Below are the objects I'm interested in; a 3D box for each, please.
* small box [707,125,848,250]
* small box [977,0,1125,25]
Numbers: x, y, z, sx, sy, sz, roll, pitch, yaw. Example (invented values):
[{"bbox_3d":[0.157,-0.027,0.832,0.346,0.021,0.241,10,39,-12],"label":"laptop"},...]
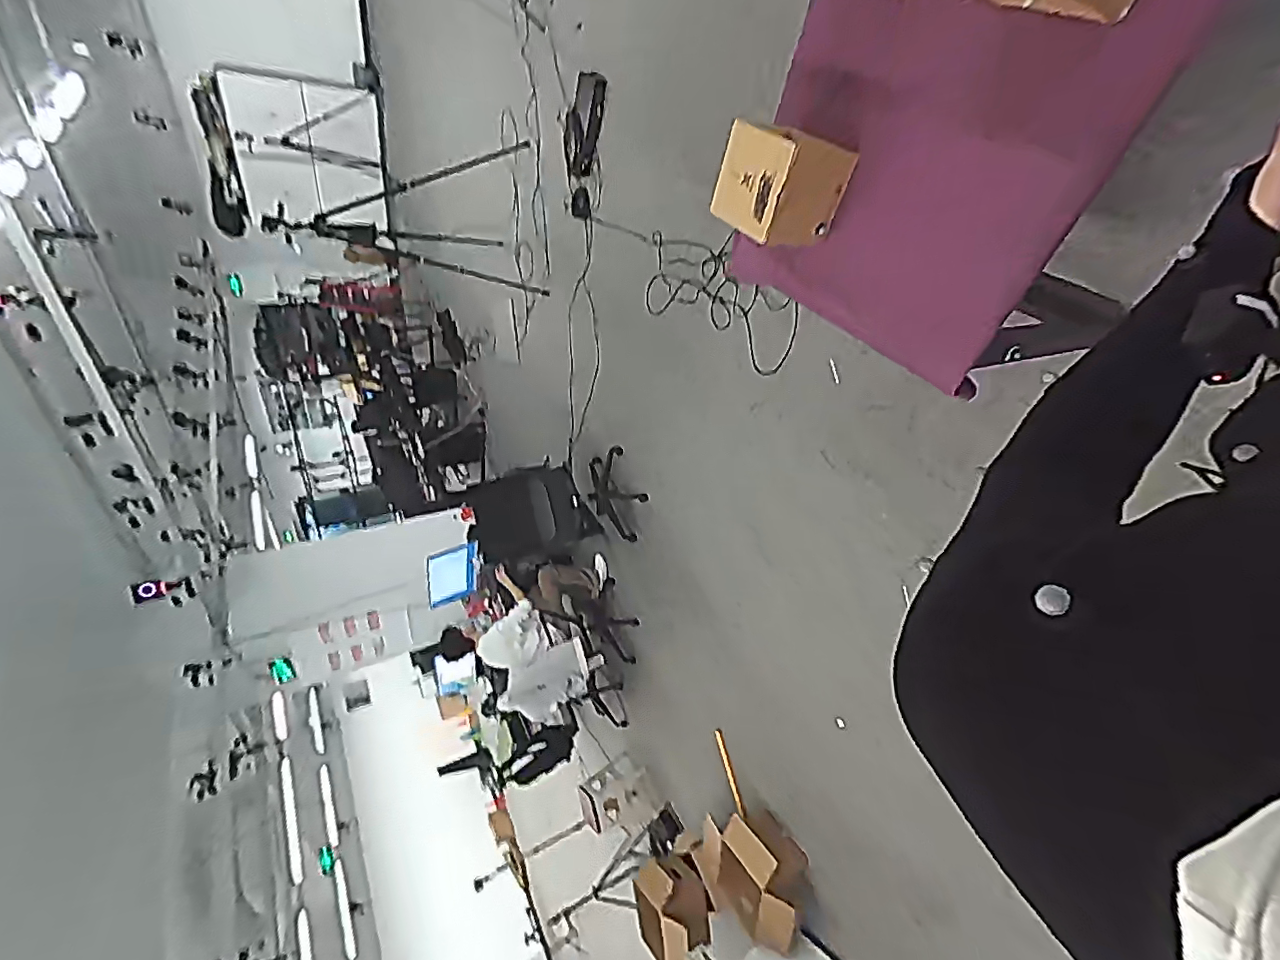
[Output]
[{"bbox_3d":[0.264,-0.564,1.047,0.179,0.176,0.168,51,141,35],"label":"small box"},{"bbox_3d":[0.491,-0.662,0.631,0.179,0.176,0.168,52,143,35],"label":"small box"}]
